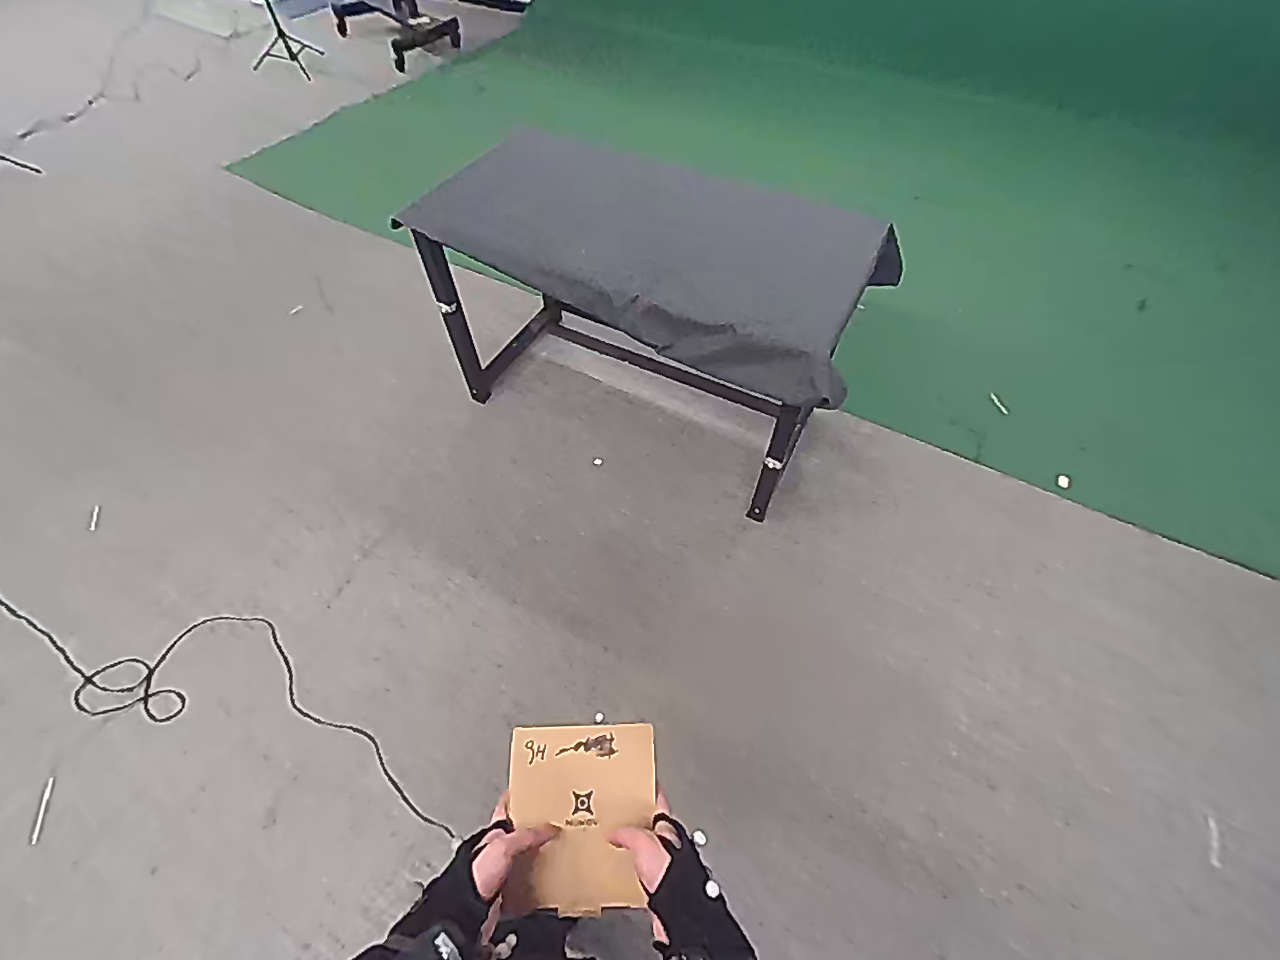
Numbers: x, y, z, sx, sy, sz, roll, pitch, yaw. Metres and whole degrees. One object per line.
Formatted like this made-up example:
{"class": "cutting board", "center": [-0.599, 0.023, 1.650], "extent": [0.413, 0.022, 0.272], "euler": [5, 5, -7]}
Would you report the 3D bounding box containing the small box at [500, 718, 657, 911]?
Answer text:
{"class": "small box", "center": [-0.063, 0.388, 0.657], "extent": [0.168, 0.176, 0.179], "euler": [-2, 66, 0]}
